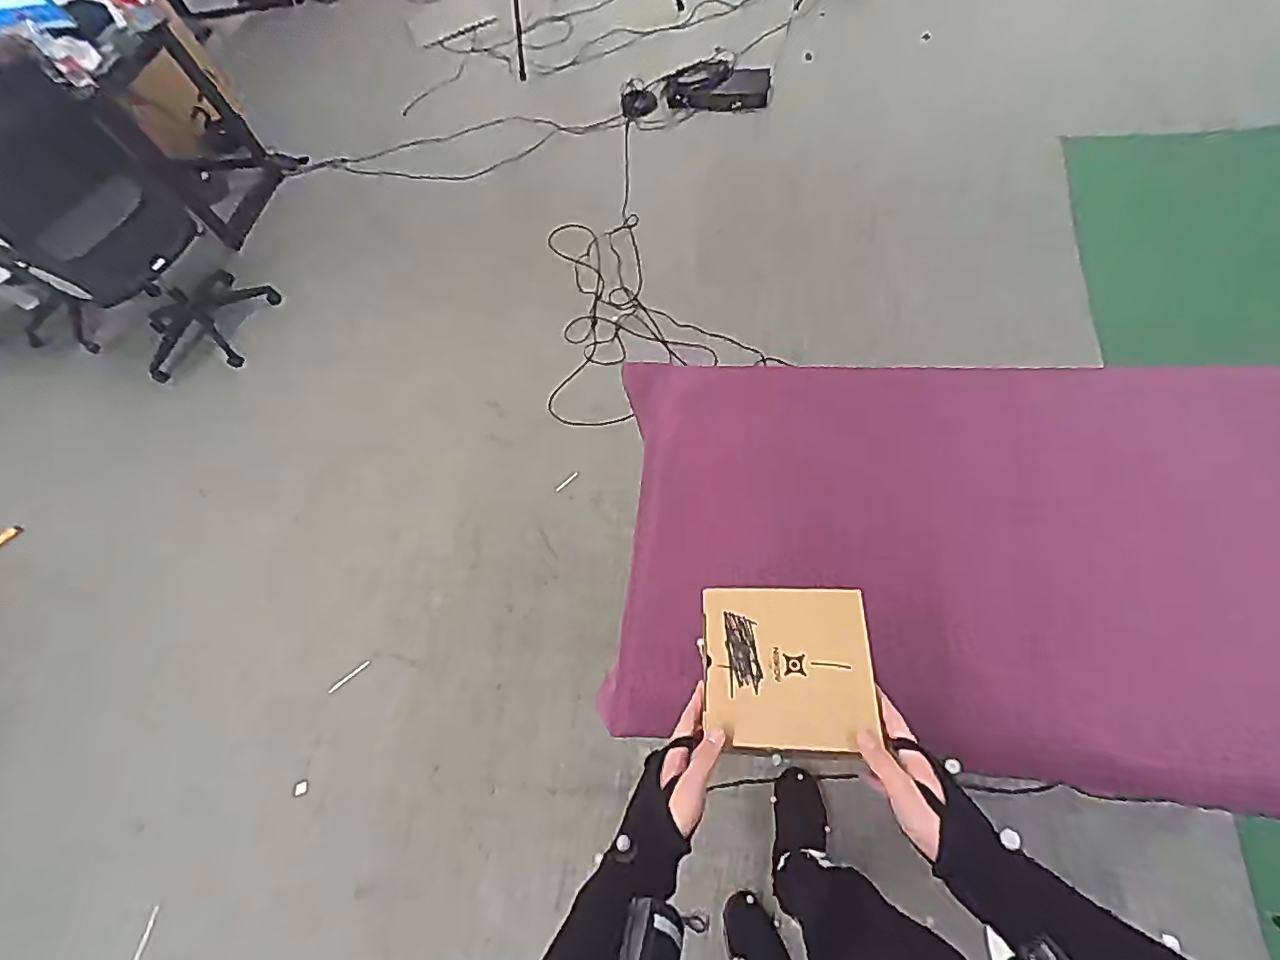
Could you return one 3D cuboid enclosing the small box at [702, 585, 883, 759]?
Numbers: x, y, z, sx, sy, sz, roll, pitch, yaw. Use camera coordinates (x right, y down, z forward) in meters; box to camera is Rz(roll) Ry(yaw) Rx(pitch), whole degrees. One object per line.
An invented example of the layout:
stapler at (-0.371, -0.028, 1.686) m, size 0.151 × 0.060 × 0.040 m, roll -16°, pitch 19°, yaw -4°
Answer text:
small box at (0.165, 0.230, 0.637) m, size 0.179 × 0.176 × 0.168 m, roll -1°, pitch 61°, yaw 8°
